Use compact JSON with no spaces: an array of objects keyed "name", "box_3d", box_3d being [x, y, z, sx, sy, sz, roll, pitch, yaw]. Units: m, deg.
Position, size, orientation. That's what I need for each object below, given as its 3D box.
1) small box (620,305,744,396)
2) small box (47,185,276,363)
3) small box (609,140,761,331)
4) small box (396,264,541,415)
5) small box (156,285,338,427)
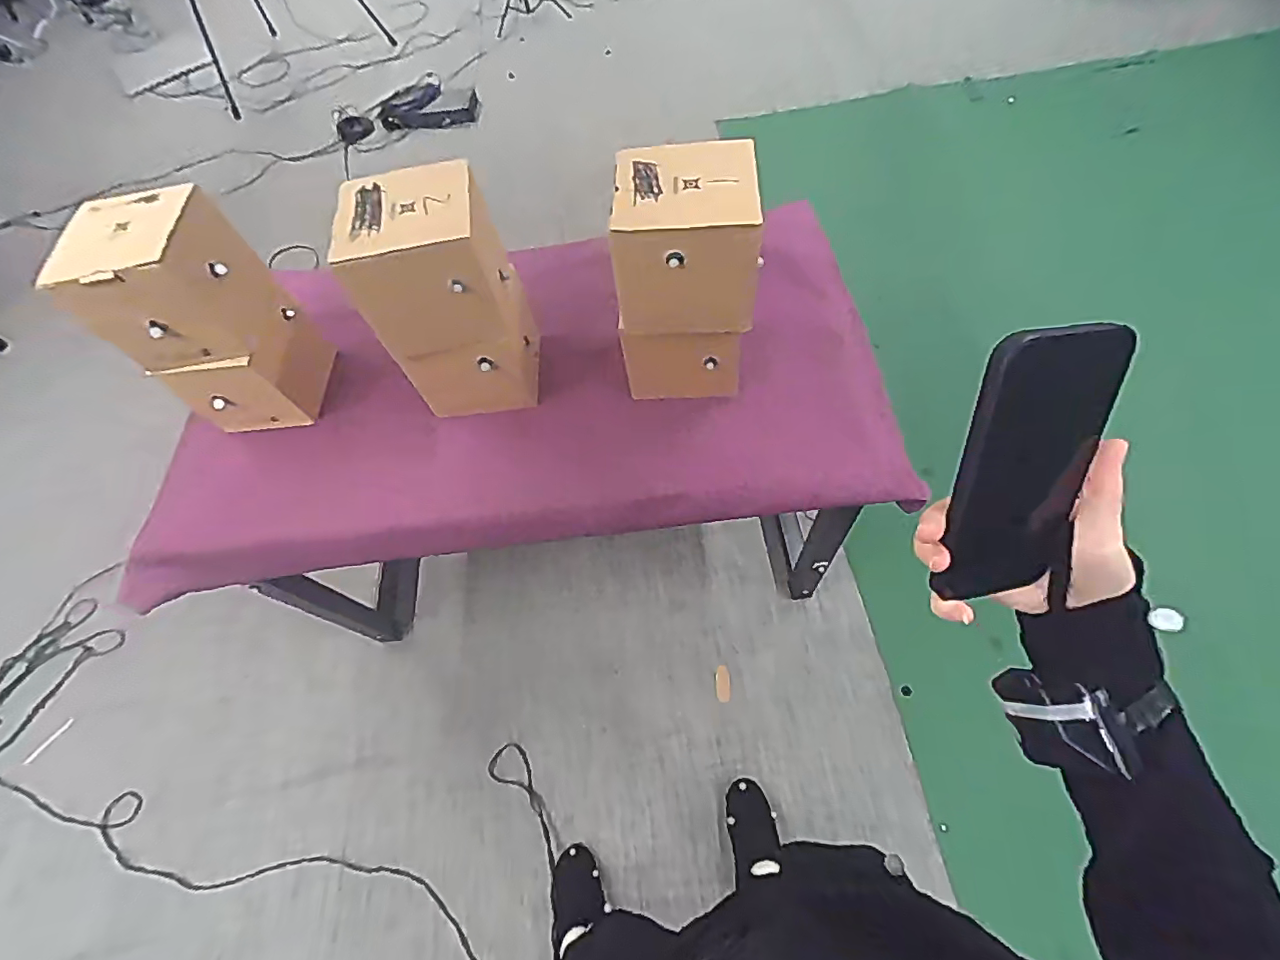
[{"name":"small box","box_3d":[0.071,-0.248,0.867,0.179,0.176,0.168,-1,61,8]},{"name":"small box","box_3d":[-0.675,-0.289,0.793,0.168,0.176,0.179,-10,61,1]},{"name":"small box","box_3d":[0.062,-0.314,0.717,0.179,0.176,0.168,-1,61,6]},{"name":"small box","box_3d":[-0.269,-0.226,0.895,0.179,0.176,0.168,-6,61,4]},{"name":"small box","box_3d":[-0.657,-0.203,0.932,0.168,0.176,0.179,-5,61,4]}]
